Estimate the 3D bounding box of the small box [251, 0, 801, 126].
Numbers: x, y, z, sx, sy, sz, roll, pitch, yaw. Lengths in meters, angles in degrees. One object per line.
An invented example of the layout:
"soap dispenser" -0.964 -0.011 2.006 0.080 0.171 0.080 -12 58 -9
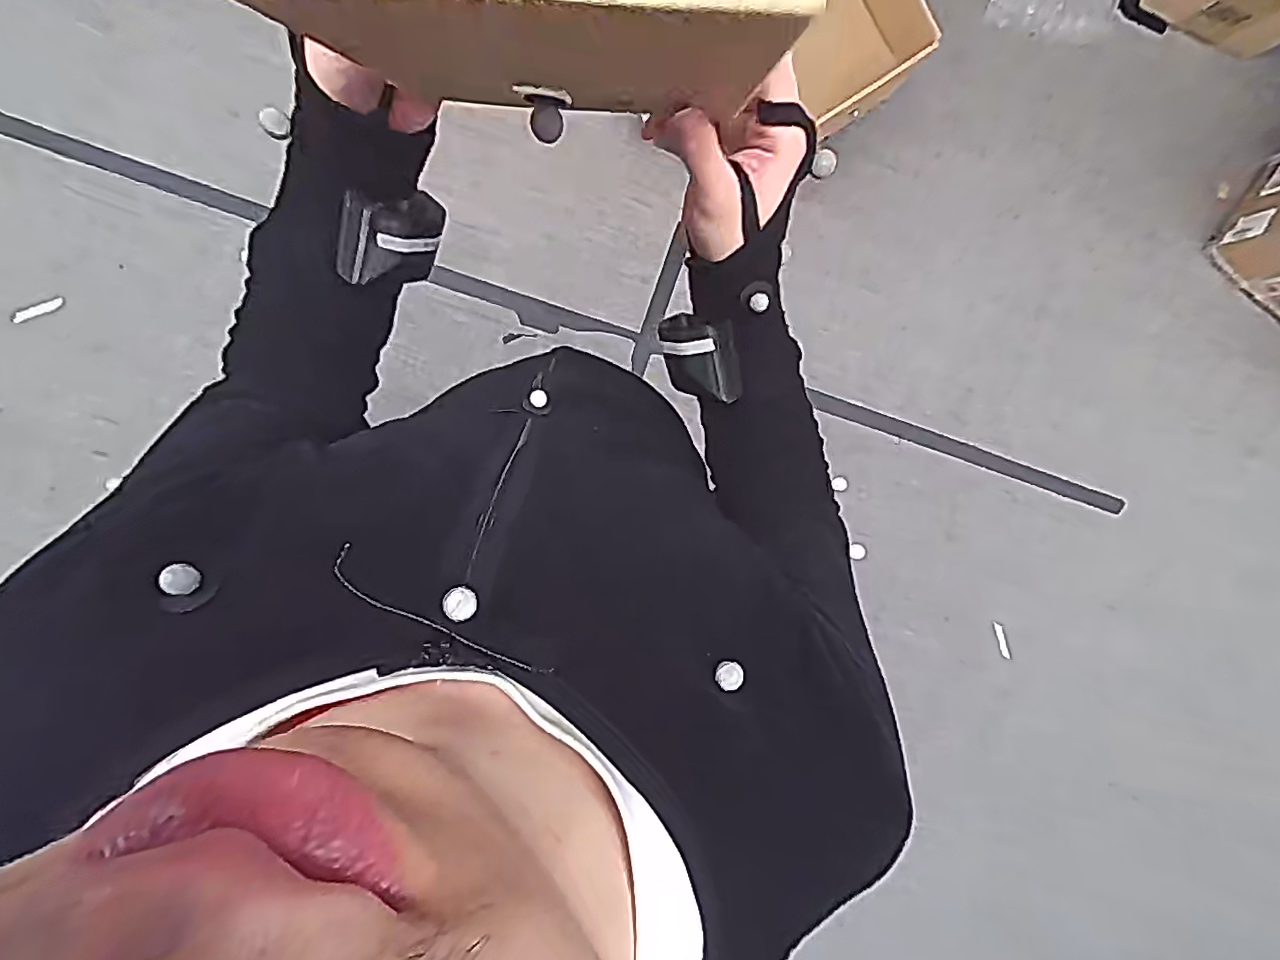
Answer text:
"small box" -0.031 -0.243 0.188 0.168 0.176 0.179 2 115 2
